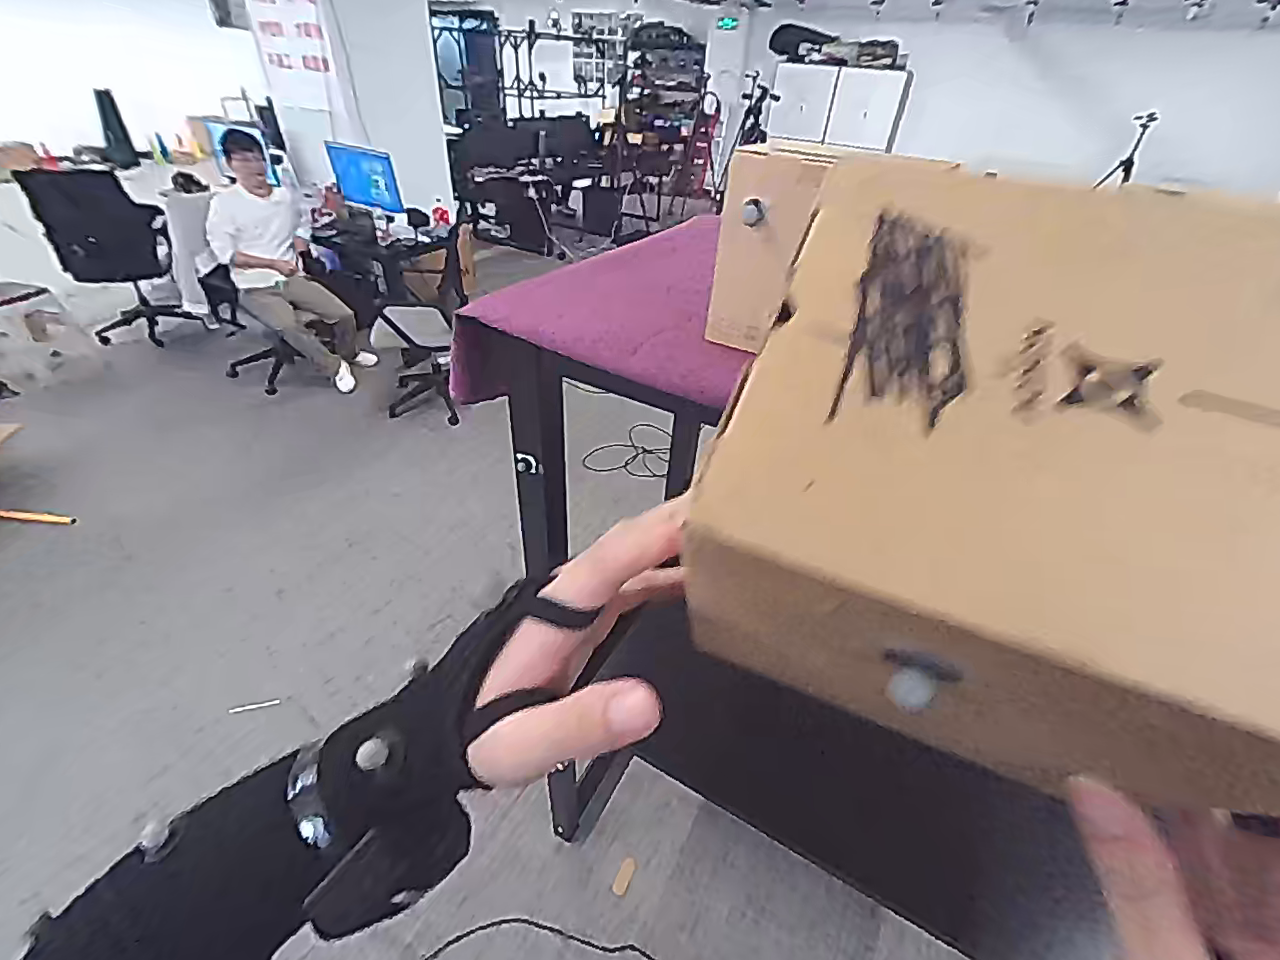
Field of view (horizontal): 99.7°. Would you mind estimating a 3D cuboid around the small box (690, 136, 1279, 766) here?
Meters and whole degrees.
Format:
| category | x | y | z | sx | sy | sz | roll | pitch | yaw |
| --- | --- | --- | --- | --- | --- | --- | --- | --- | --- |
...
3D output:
| category | x | y | z | sx | sy | sz | roll | pitch | yaw |
| --- | --- | --- | --- | --- | --- | --- | --- | --- | --- |
| small box | 0.132 | 0.001 | 0.219 | 0.179 | 0.176 | 0.168 | 19 | 67 | 16 |
